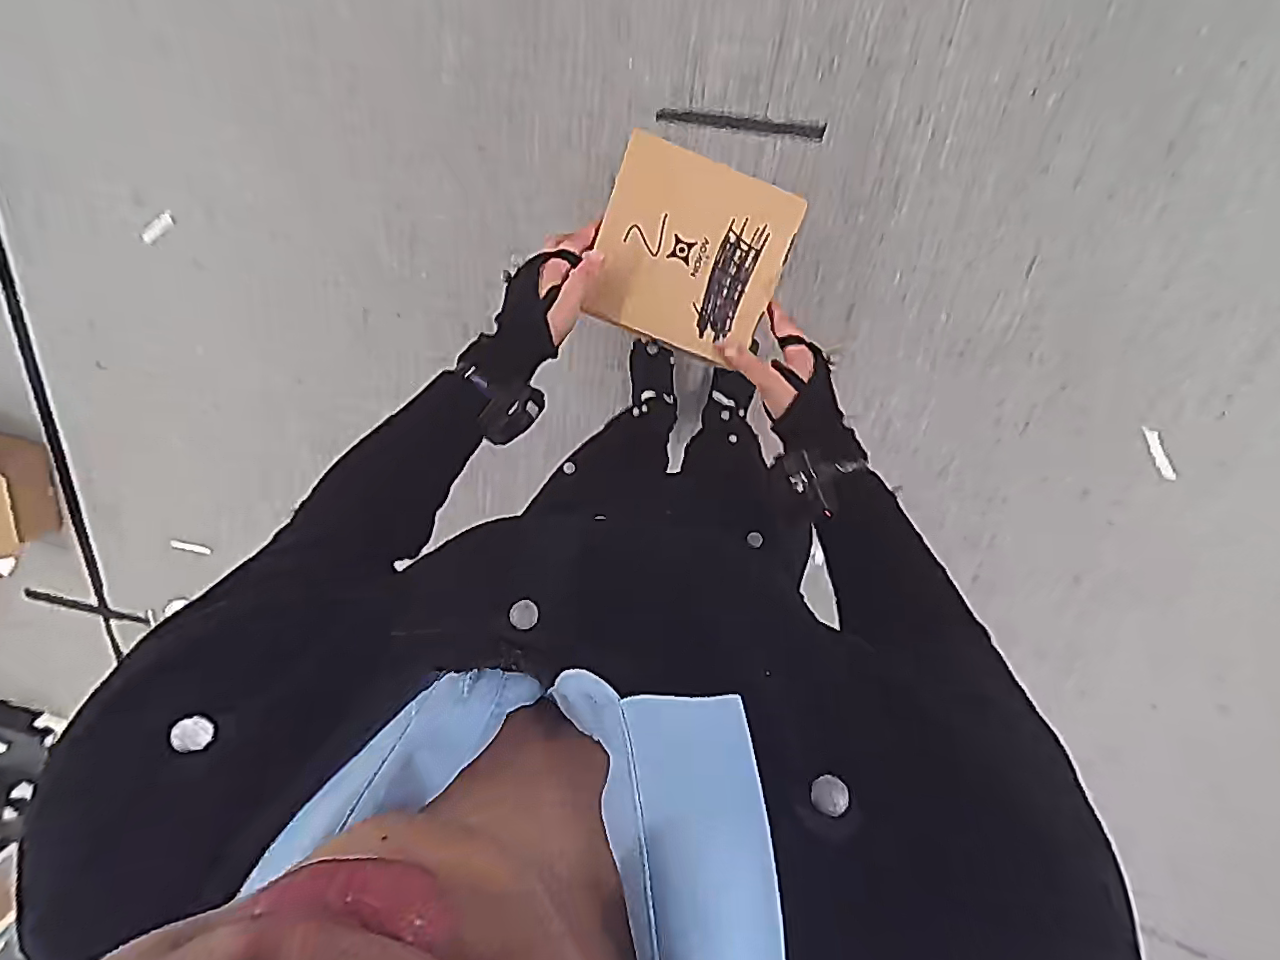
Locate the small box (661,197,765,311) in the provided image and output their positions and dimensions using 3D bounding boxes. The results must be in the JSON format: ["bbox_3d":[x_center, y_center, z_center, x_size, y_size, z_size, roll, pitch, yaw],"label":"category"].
[{"bbox_3d":[0.138,-0.433,1.044,0.168,0.176,0.179,9,113,6],"label":"small box"}]
